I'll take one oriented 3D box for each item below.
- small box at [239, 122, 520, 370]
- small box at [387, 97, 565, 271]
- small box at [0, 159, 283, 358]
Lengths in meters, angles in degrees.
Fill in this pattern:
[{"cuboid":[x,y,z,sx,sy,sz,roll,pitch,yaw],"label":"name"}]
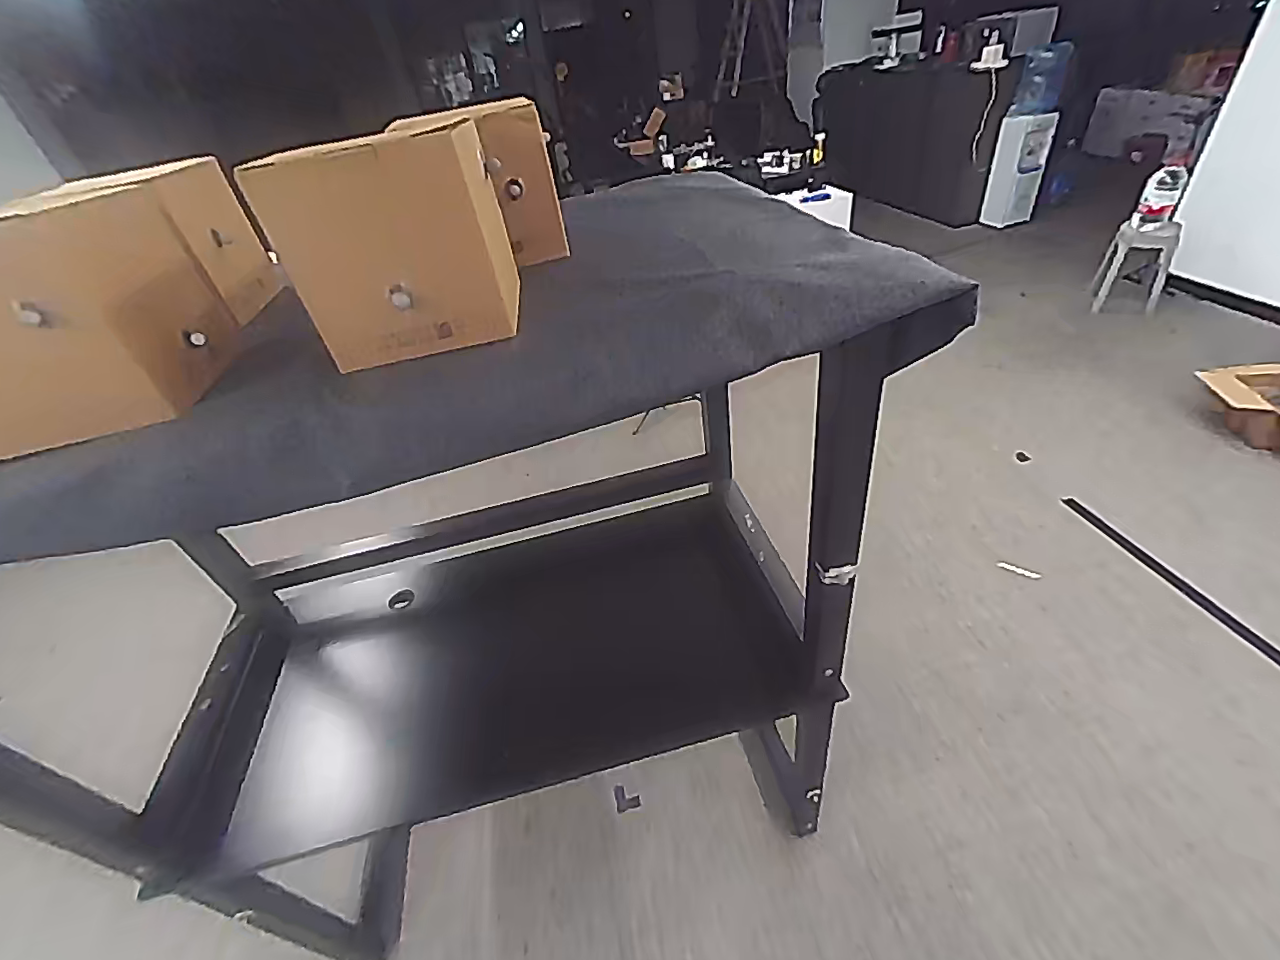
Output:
[{"cuboid":[-0.219,-0.226,0.517,0.168,0.176,0.179,-12,37,-1],"label":"small box"},{"cuboid":[-0.199,-0.370,0.692,0.168,0.176,0.179,-14,39,-7],"label":"small box"},{"cuboid":[-0.587,-0.272,0.664,0.179,0.176,0.168,-14,39,-3],"label":"small box"}]
